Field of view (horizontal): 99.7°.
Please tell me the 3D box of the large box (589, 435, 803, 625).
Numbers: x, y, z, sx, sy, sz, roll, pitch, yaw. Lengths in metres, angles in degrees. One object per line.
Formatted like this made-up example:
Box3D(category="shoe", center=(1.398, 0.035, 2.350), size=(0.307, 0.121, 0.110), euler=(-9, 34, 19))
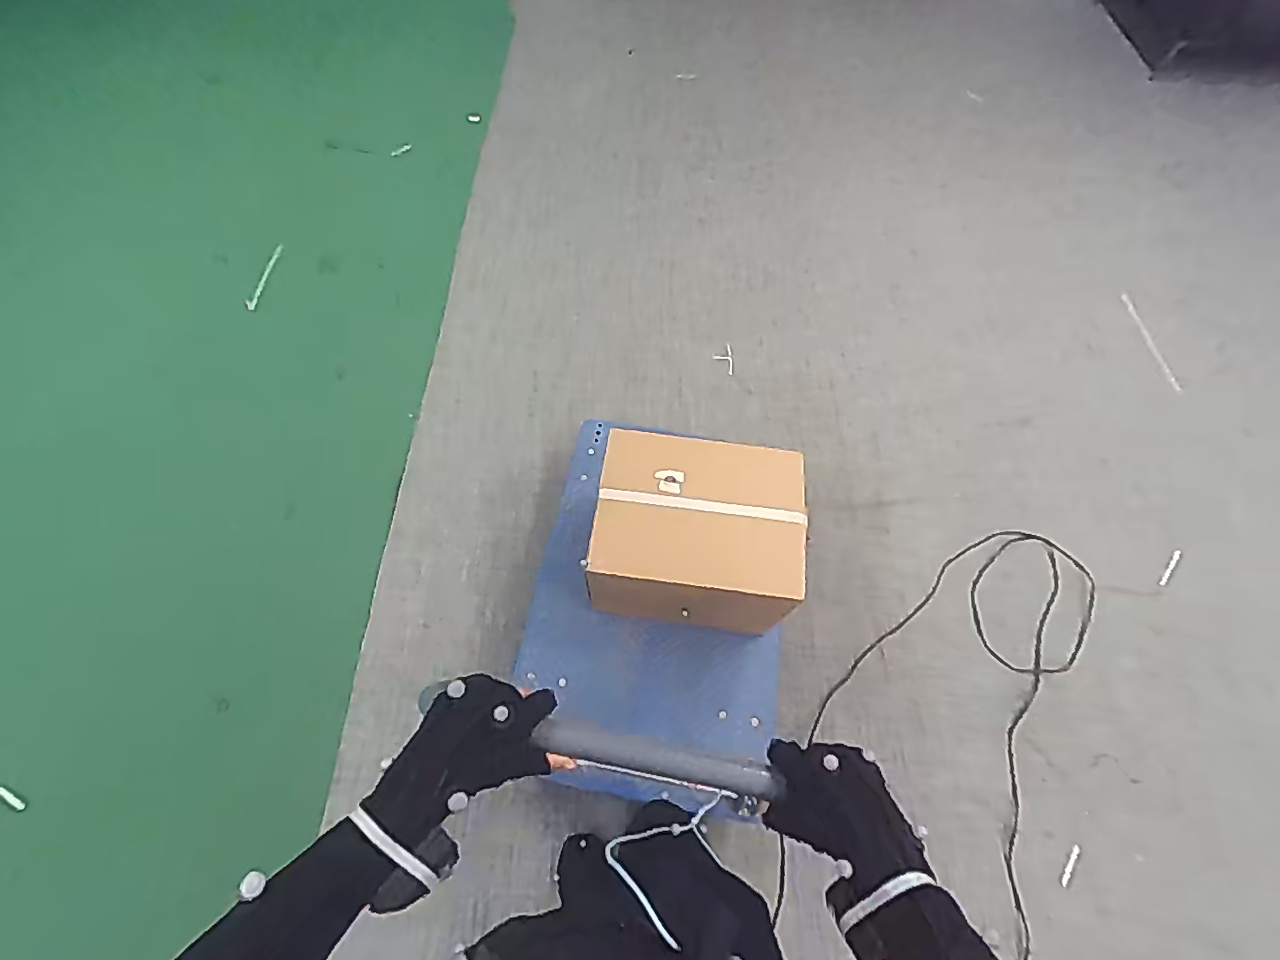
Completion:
Box3D(category="large box", center=(0.118, 0.124, 1.198), size=(0.408, 0.320, 0.320), euler=(6, 63, 2))
